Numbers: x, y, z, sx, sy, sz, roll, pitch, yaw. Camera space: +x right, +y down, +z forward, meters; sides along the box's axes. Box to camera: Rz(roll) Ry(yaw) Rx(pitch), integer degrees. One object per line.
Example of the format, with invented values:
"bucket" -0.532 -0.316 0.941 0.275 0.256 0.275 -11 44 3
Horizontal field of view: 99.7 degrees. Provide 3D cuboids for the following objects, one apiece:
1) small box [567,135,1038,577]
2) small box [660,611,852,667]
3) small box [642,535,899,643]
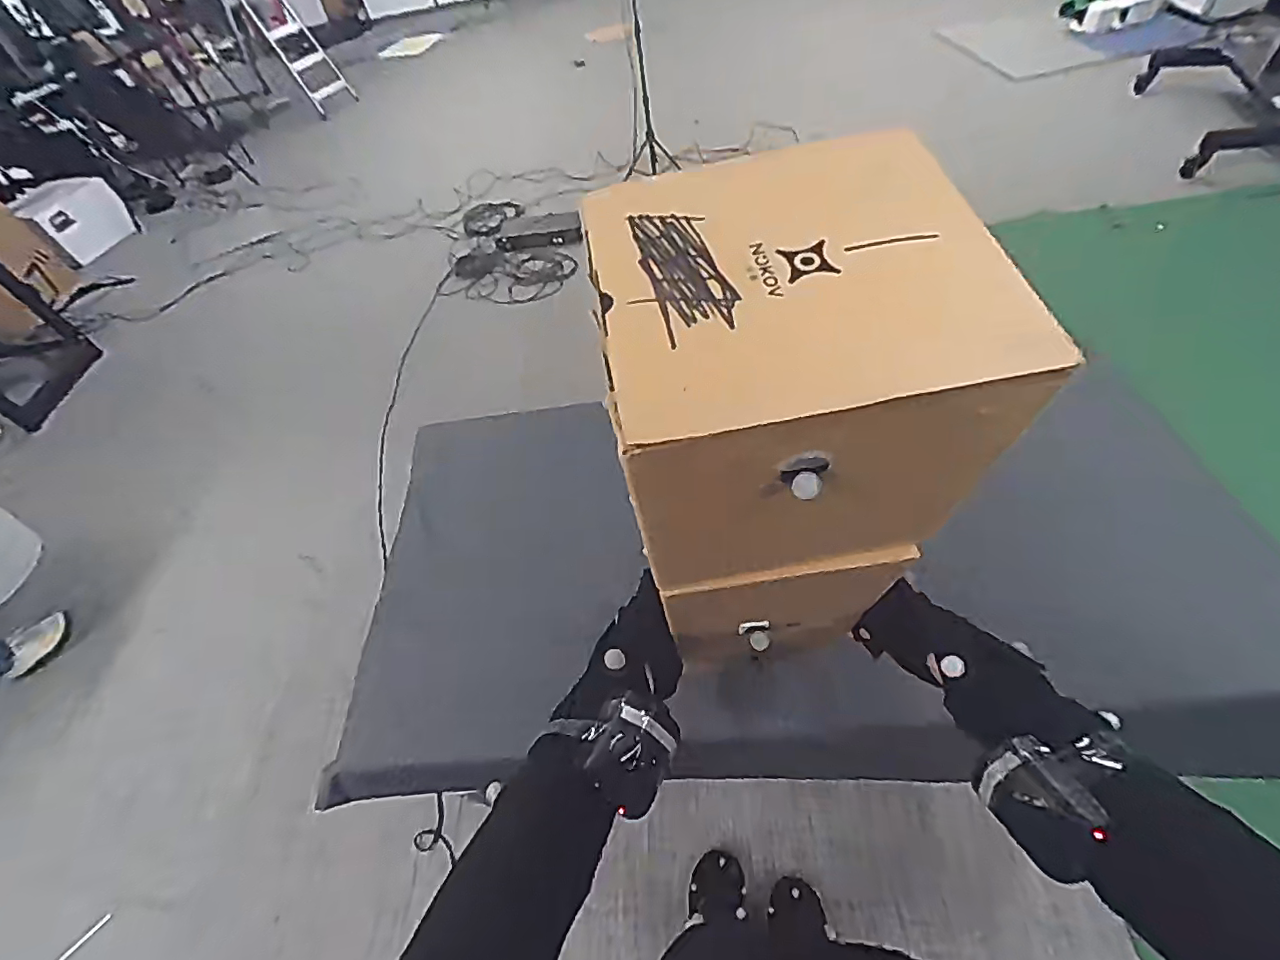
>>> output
"small box" 0.066 -0.055 0.314 0.179 0.176 0.168 -10 61 2
"small box" 0.106 0.102 0.597 0.179 0.176 0.168 -7 61 2
"small box" 0.085 0.024 0.455 0.168 0.176 0.179 -8 61 4
